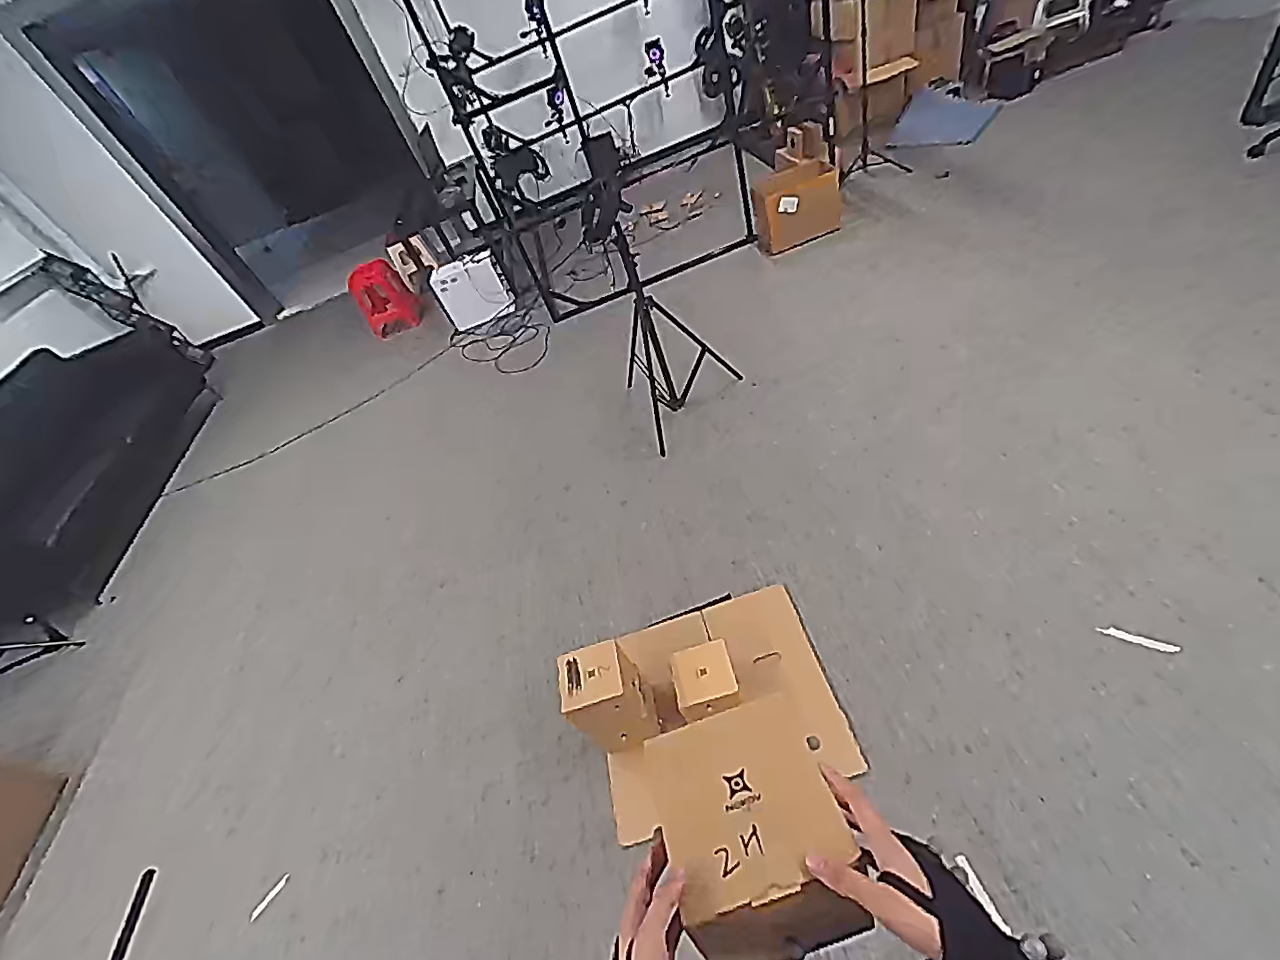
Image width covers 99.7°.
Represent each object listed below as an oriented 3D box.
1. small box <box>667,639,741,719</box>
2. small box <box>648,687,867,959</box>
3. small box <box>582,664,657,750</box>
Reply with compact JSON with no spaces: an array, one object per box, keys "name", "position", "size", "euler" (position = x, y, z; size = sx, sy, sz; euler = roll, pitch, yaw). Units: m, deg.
[{"name":"small box","position":[0.195,0.602,1.601],"size":[0.179,0.176,0.168],"euler":[-19,44,5]},{"name":"small box","position":[0.120,0.363,0.574],"size":[0.168,0.176,0.179],"euler":[-20,33,0]},{"name":"small box","position":[-0.056,0.685,1.626],"size":[0.179,0.176,0.168],"euler":[-21,44,5]}]
